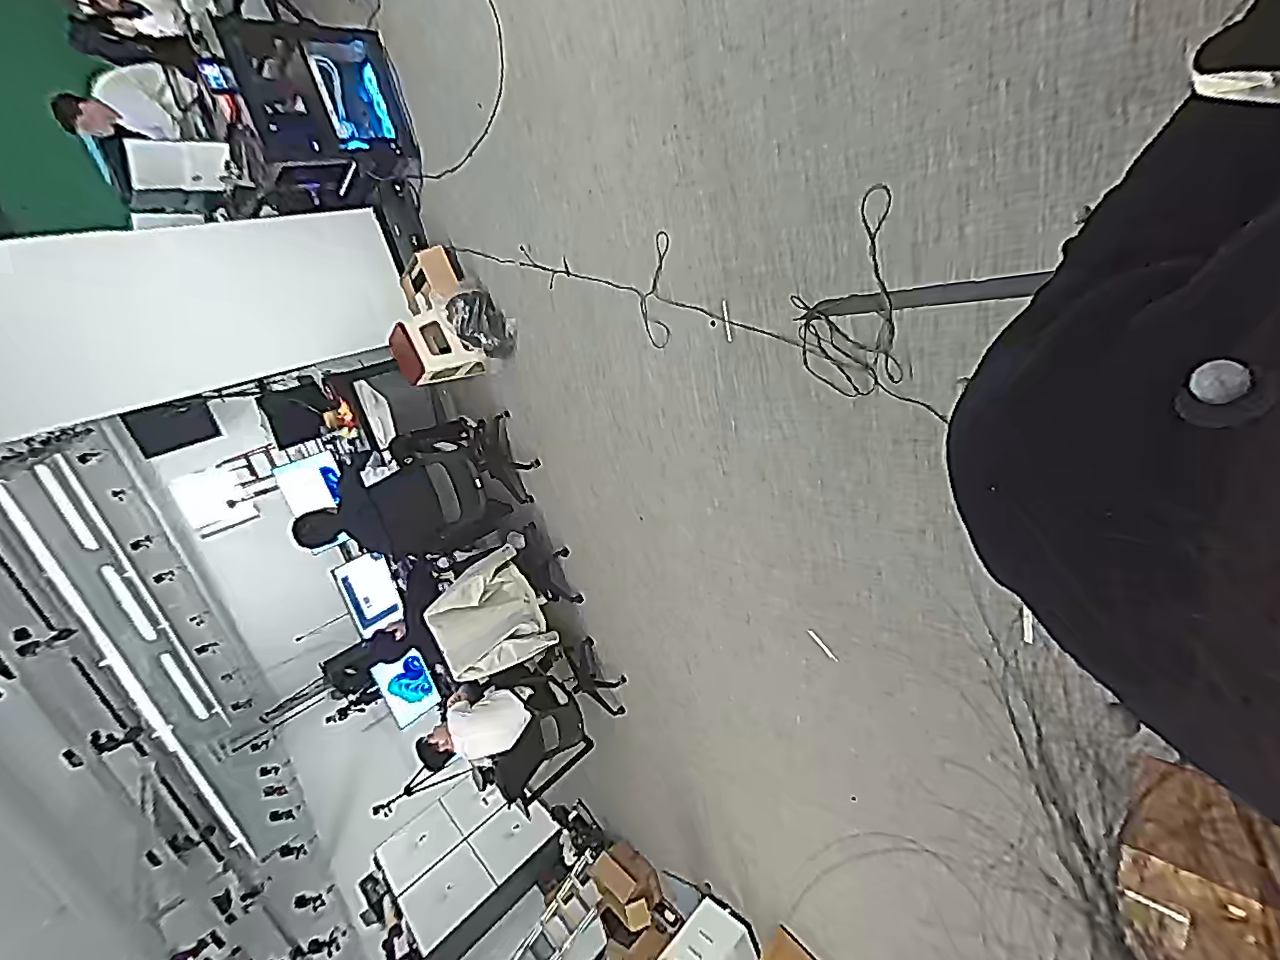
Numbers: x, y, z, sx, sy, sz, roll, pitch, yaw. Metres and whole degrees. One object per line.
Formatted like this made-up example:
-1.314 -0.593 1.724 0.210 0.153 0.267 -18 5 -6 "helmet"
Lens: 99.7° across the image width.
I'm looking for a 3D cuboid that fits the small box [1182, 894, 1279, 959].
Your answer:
1.246 1.028 1.120 0.168 0.176 0.179 6 117 49 "small box"
